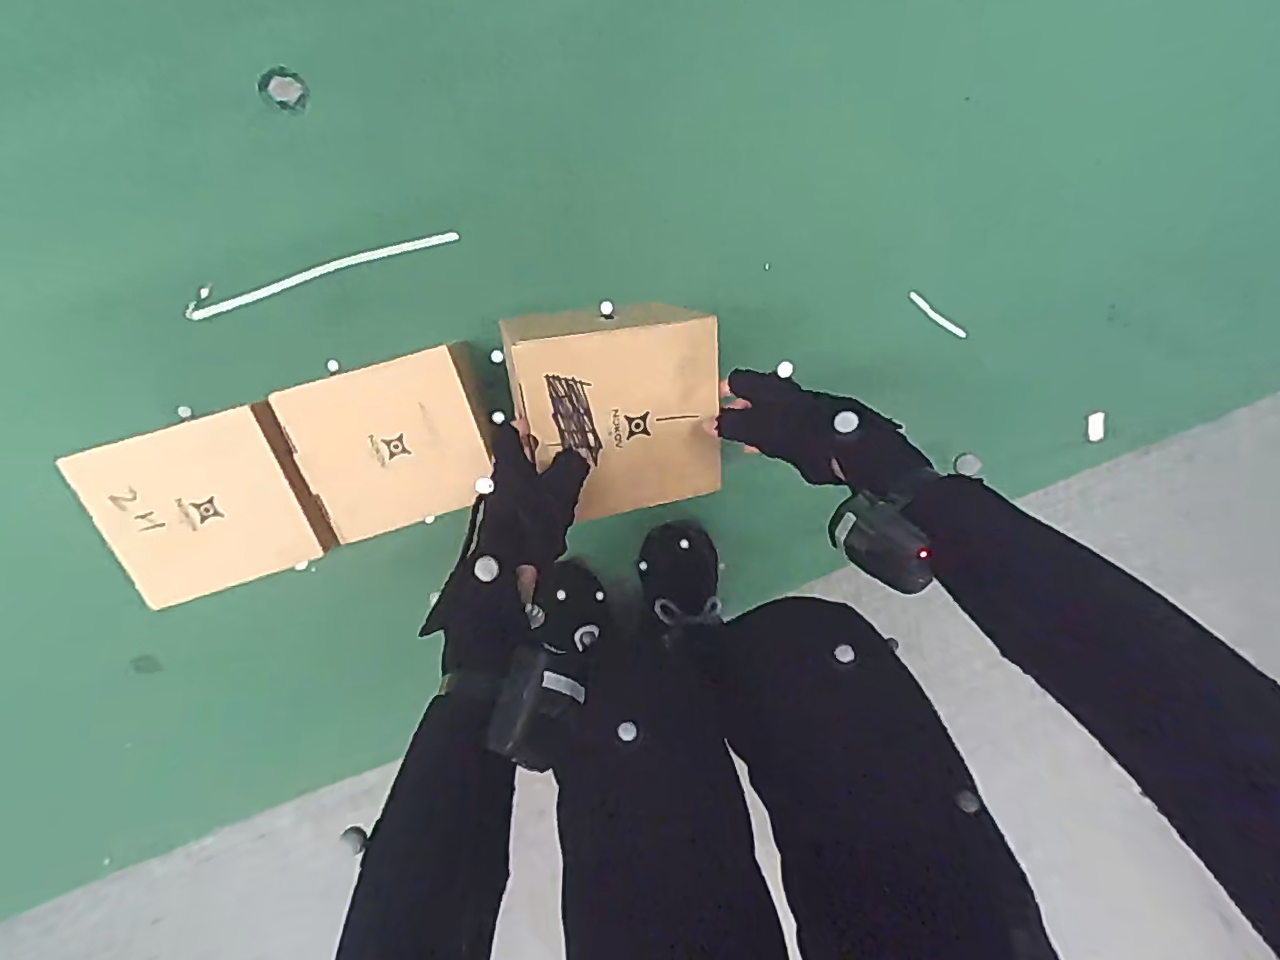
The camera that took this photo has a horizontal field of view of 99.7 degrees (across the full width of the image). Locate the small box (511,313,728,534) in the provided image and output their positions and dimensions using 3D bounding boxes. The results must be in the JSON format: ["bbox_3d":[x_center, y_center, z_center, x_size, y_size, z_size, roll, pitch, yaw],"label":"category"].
[{"bbox_3d":[-0.028,-0.069,0.538,0.179,0.176,0.168,-12,114,-13],"label":"small box"}]
